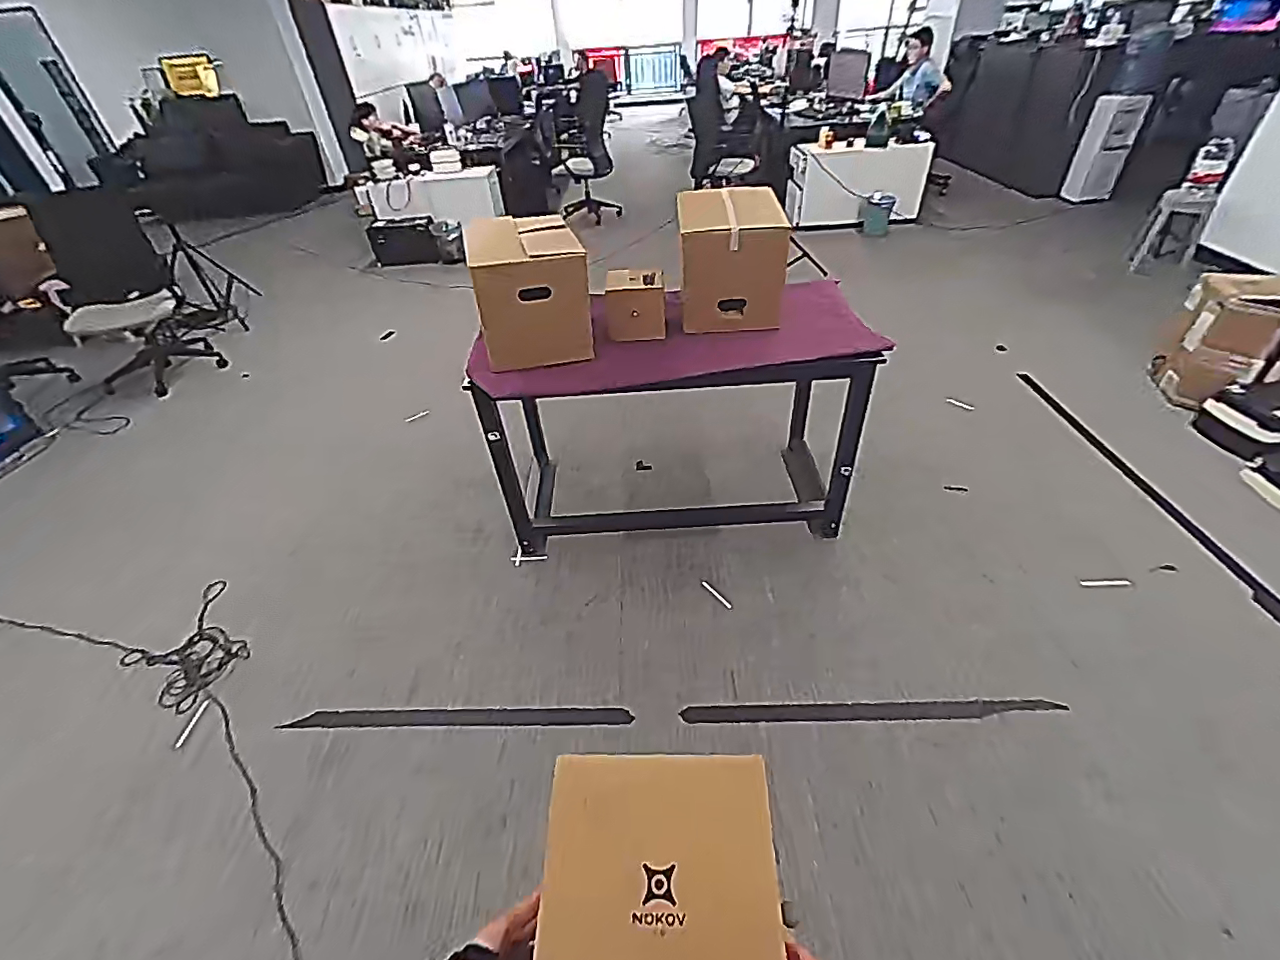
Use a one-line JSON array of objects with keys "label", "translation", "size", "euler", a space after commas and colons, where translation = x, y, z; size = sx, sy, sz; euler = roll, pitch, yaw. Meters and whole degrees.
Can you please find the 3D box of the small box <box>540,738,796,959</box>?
[{"label": "small box", "translation": [0.022, 0.323, 0.431], "size": [0.168, 0.176, 0.179], "euler": [-2, 49, 3]}]
